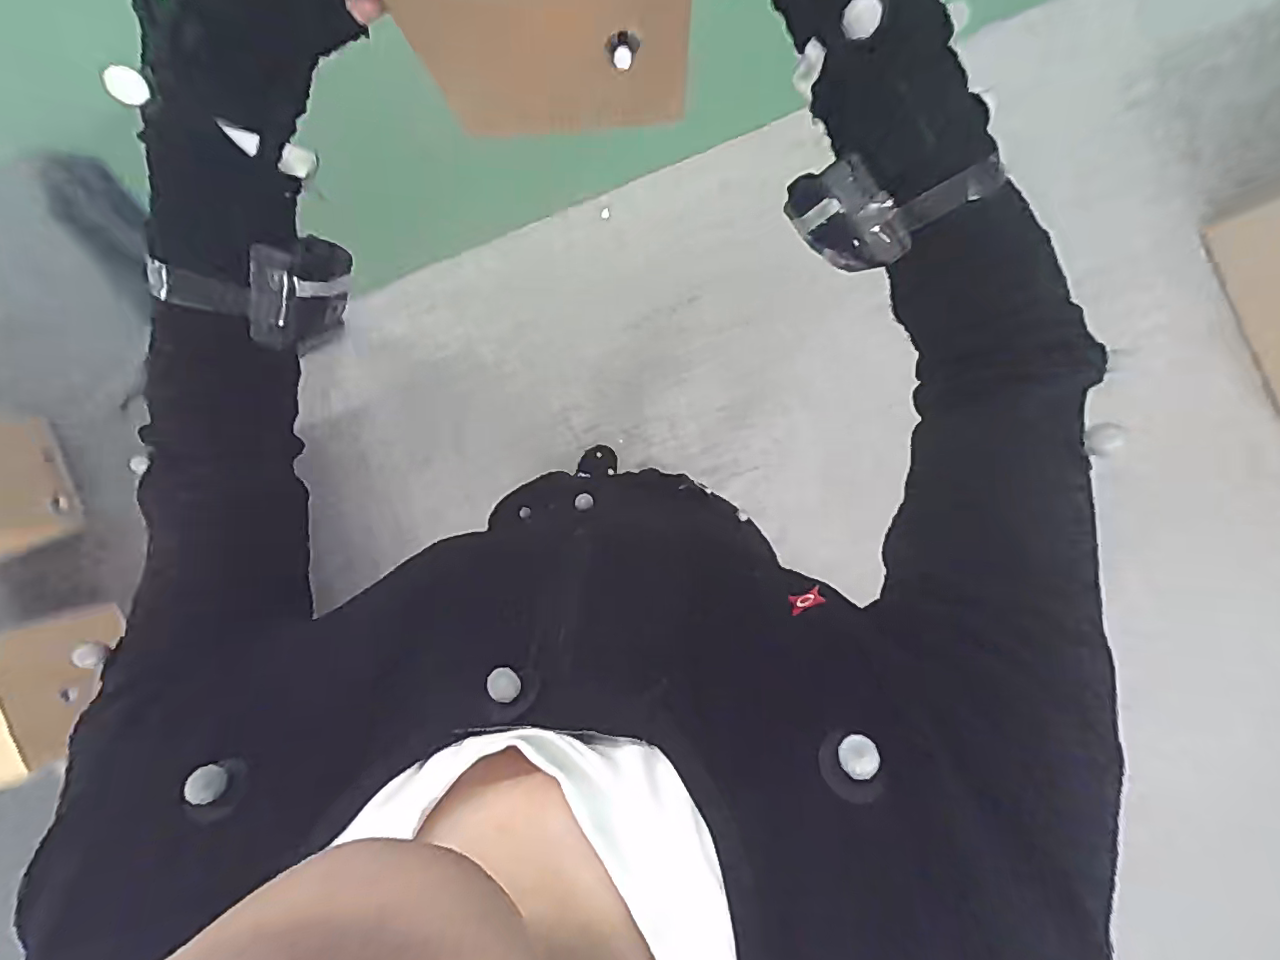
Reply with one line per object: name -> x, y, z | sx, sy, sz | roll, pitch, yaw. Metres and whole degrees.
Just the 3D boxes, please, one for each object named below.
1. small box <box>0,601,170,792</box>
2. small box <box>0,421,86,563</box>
small box -> -0.790, 0.287, 0.716 | 0.168, 0.176, 0.179 | -24, 91, 4
small box -> -0.898, 0.022, 0.712 | 0.179, 0.176, 0.168 | -21, 91, 5
